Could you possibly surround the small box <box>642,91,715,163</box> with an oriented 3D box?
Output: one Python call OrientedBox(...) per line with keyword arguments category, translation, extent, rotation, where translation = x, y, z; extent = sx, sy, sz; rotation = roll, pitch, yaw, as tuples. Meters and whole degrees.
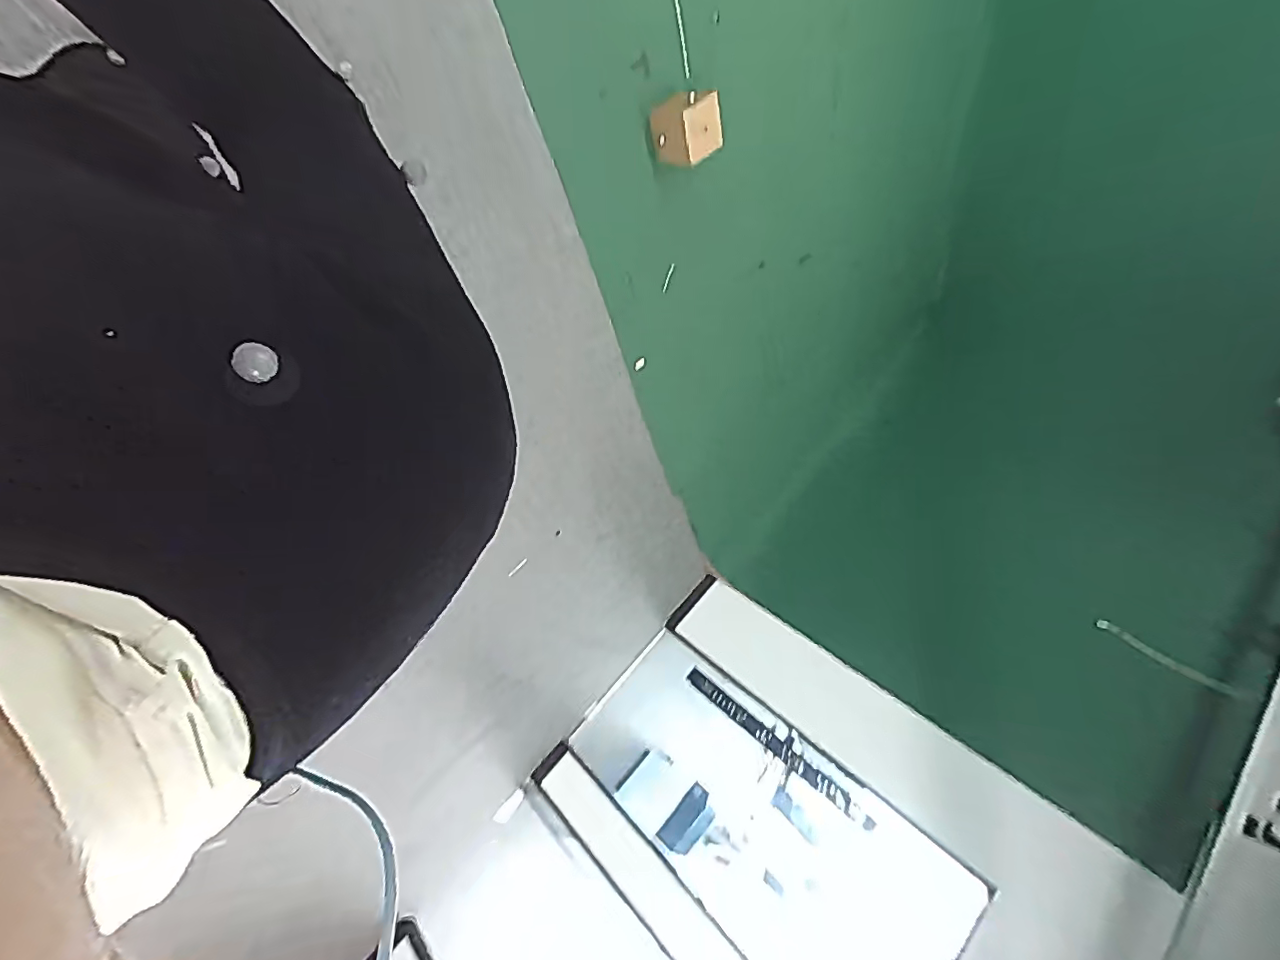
OrientedBox(category="small box", translation=(0.136, -1.244, 1.898), extent=(0.179, 0.176, 0.168), rotation=(-44, 141, -20))
